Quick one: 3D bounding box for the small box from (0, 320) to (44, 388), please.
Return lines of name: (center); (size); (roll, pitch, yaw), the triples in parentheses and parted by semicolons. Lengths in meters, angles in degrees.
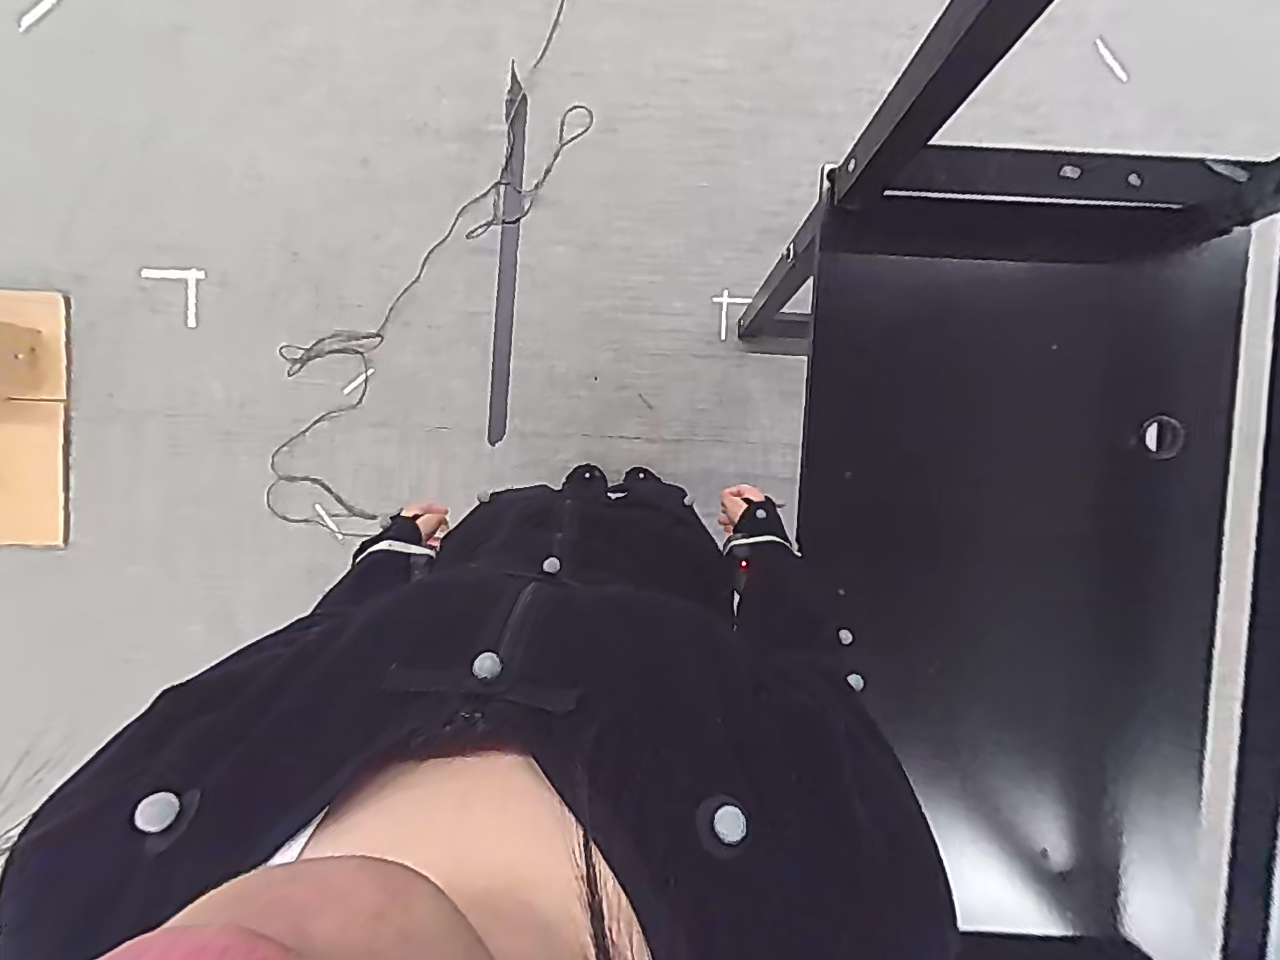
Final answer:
small box: (-1.714, -0.332, 1.391); (0.179, 0.176, 0.168); (3, 92, -1)
